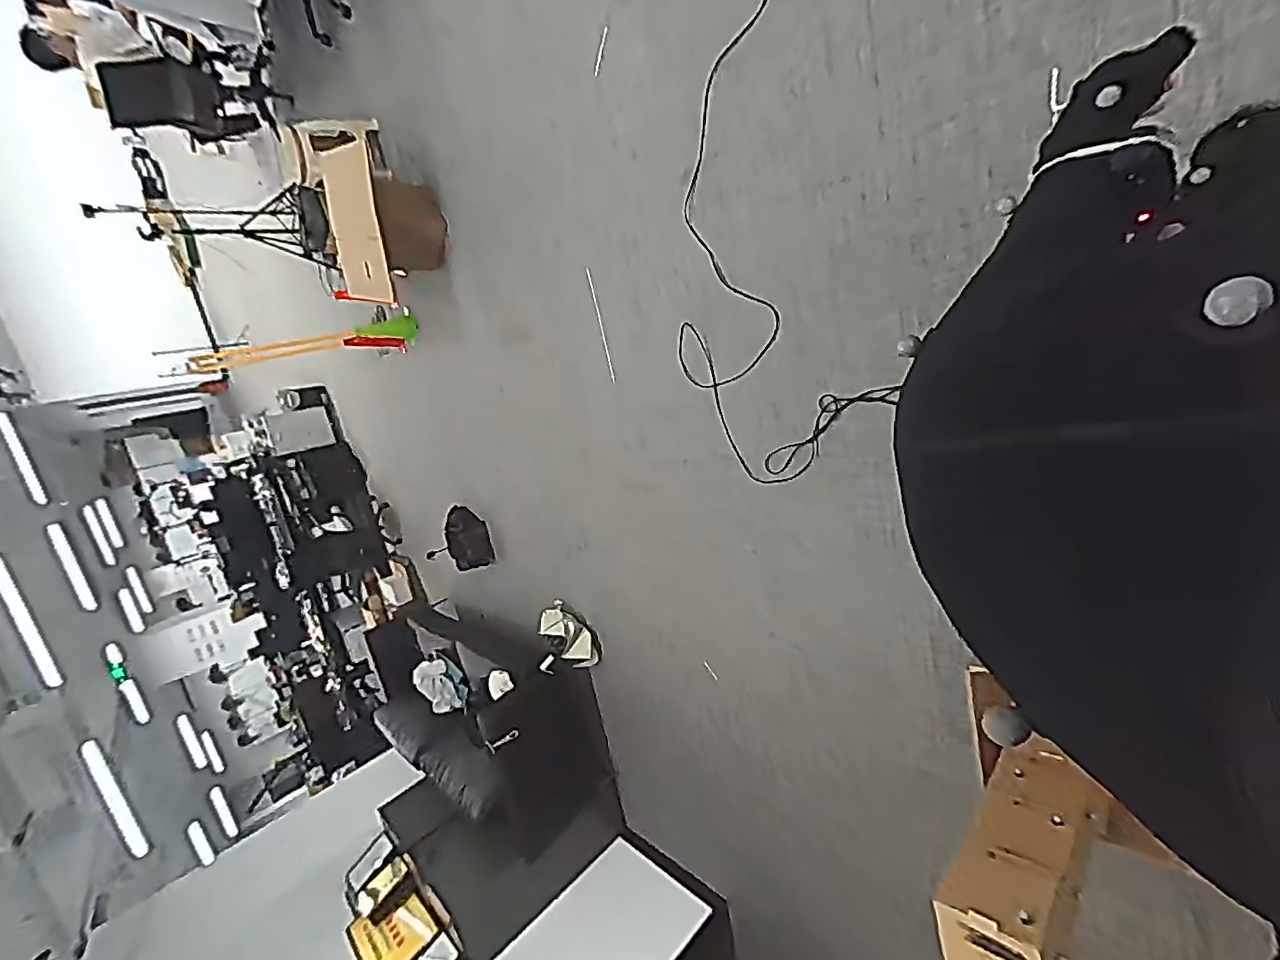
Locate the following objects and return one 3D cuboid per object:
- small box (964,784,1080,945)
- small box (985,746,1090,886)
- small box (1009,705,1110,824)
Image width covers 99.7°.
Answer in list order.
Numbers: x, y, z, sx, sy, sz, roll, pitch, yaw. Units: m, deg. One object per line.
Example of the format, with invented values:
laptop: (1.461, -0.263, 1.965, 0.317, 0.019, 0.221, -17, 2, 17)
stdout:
small box: (0.794, 0.779, 1.120, 0.168, 0.176, 0.179, 0, 108, 48)
small box: (0.896, 0.742, 1.219, 0.168, 0.176, 0.179, -1, 107, 47)
small box: (1.032, 0.685, 1.327, 0.168, 0.176, 0.179, -8, 102, 47)
